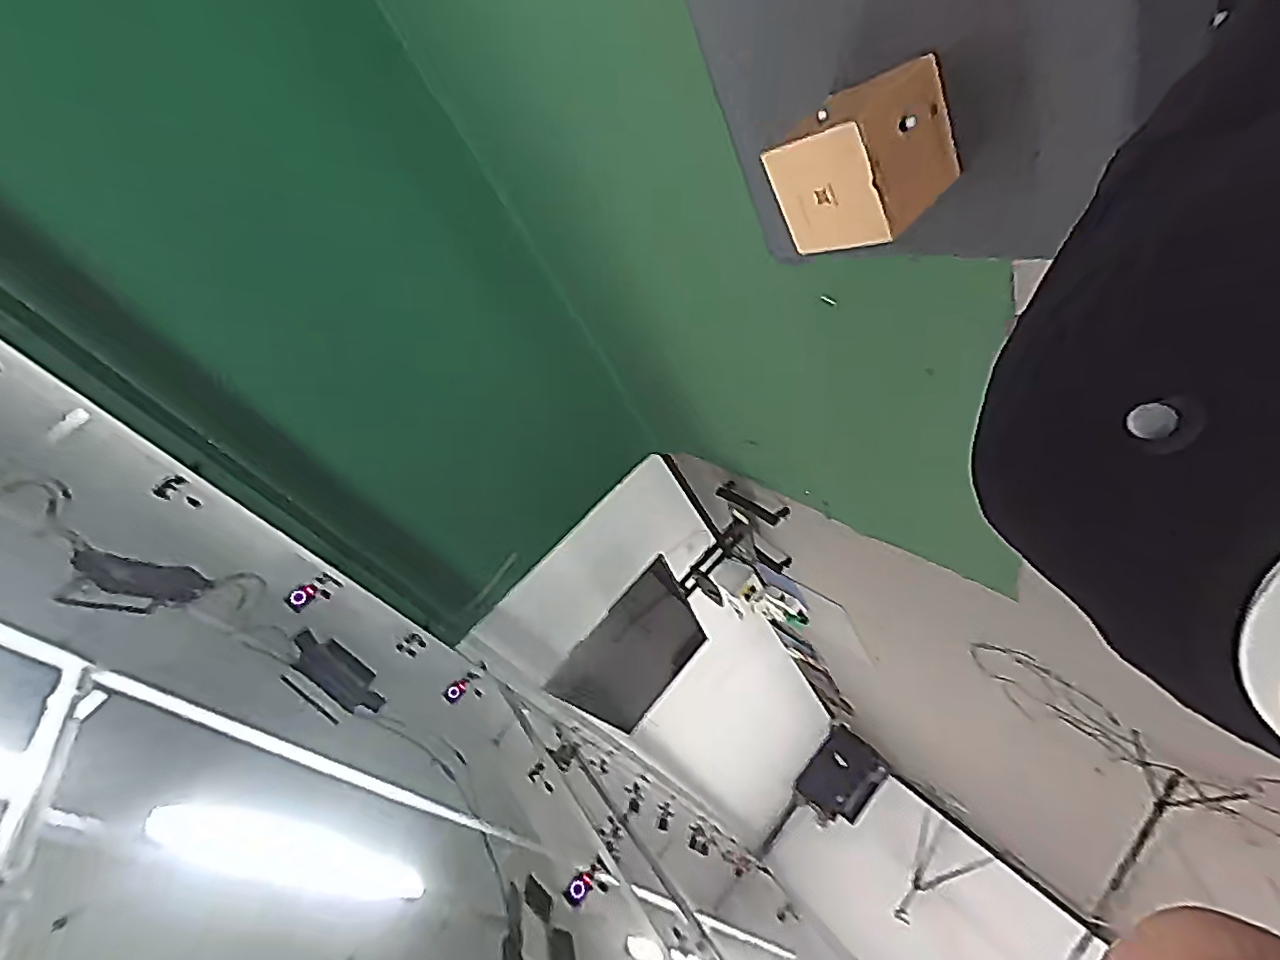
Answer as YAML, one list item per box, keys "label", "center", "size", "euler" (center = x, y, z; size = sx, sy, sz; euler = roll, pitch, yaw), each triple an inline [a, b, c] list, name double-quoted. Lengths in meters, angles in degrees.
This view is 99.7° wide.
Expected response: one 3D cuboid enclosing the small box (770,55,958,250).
- label: "small box"
  center: [0.332, -0.467, 0.789]
  size: [0.168, 0.176, 0.179]
  euler: [54, 165, -30]
